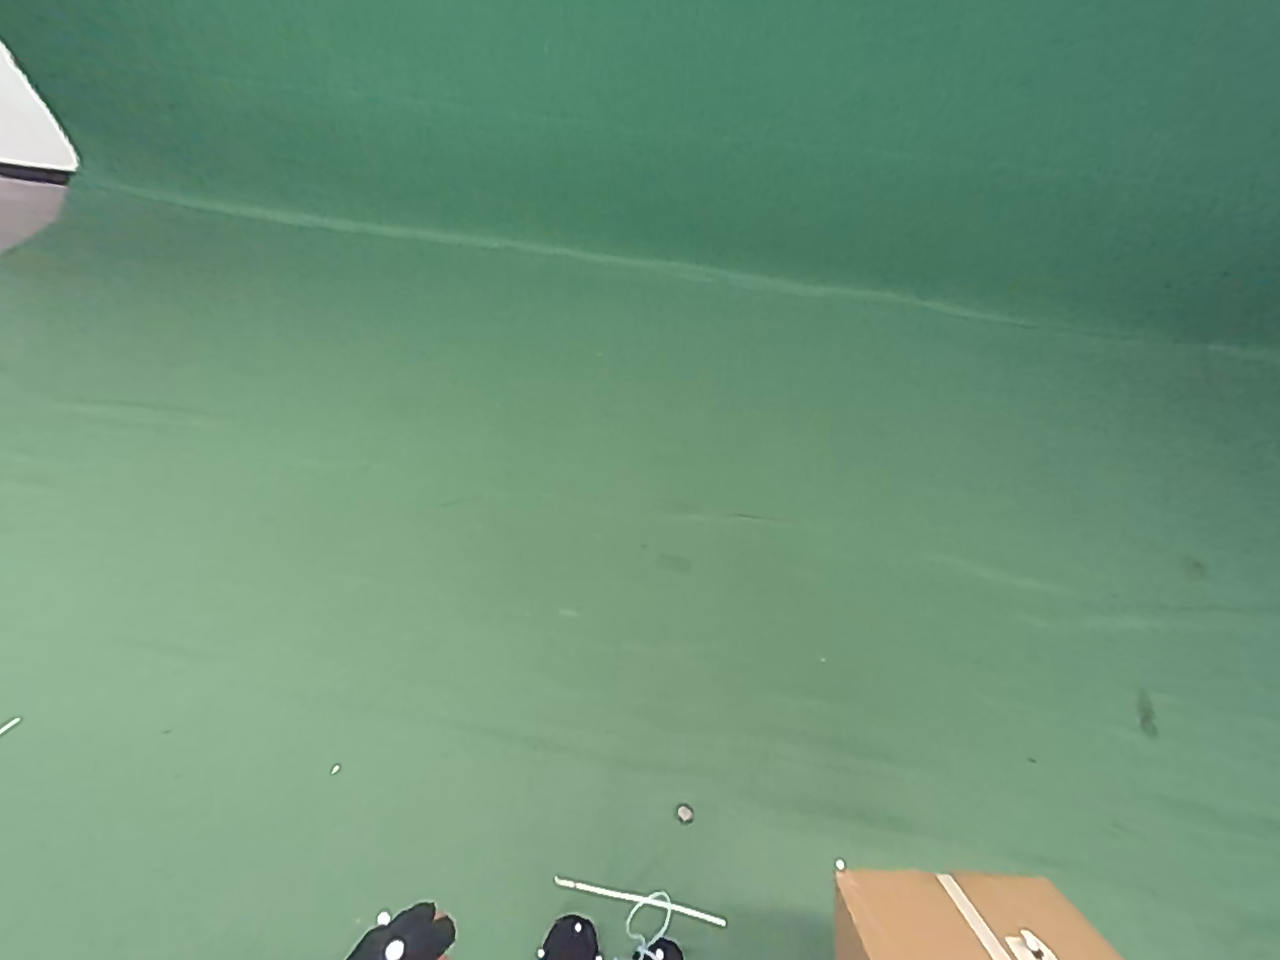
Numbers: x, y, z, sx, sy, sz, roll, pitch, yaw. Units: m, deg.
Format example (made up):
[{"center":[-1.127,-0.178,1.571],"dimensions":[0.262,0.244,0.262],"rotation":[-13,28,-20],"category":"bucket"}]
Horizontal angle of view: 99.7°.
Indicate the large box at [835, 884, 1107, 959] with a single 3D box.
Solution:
[{"center":[0.436,0.755,0.602],"dimensions":[0.320,0.408,0.320],"rotation":[1,89,3],"category":"large box"}]
